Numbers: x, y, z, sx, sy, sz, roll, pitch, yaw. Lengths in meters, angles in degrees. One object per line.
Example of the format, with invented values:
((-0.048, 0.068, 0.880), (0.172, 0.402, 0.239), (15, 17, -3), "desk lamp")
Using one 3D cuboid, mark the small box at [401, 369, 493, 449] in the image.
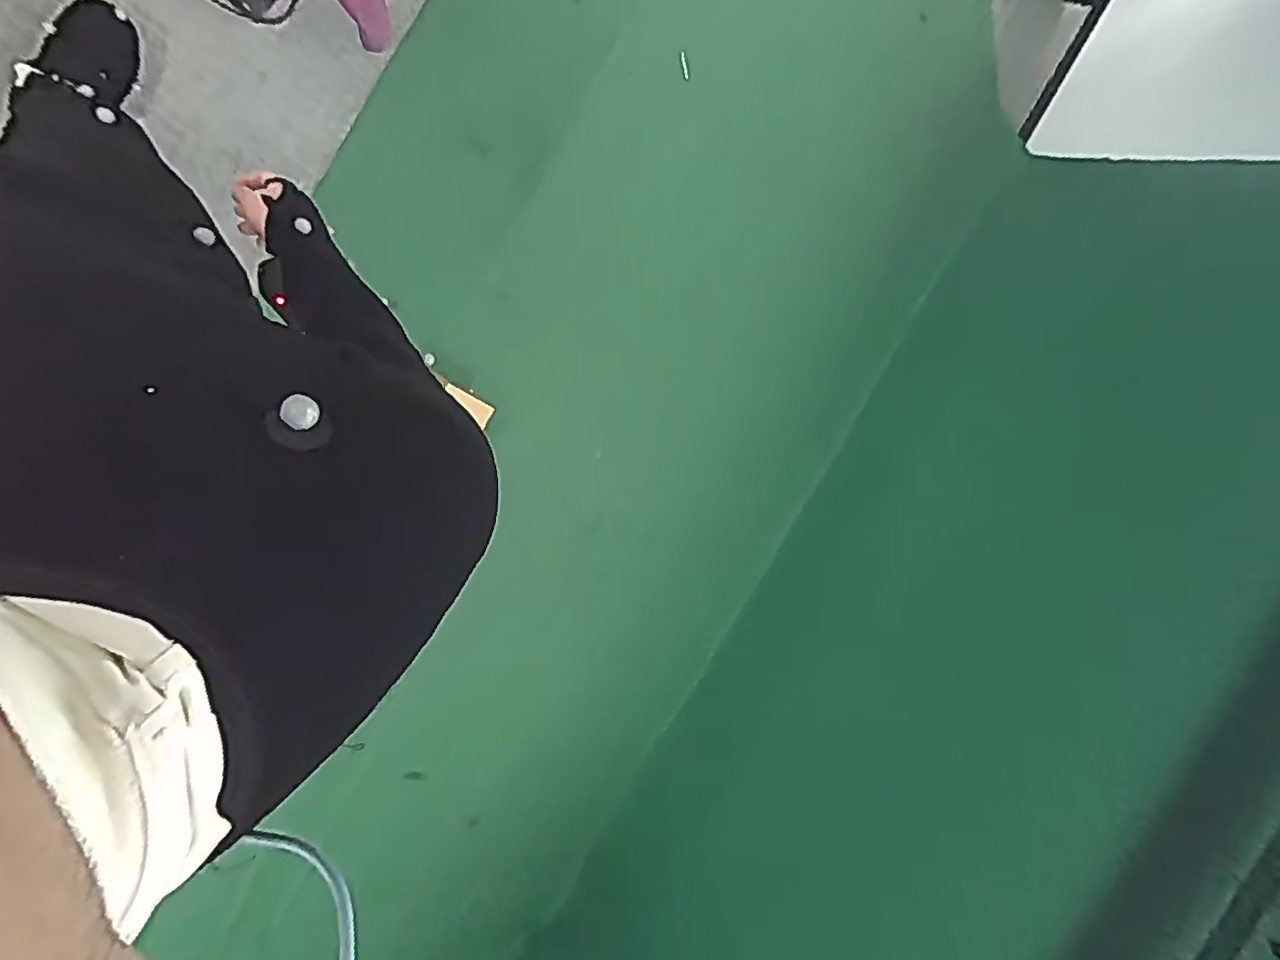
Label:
((-0.590, -0.220, 1.640), (0.179, 0.176, 0.168), (29, 91, -51), "small box")
